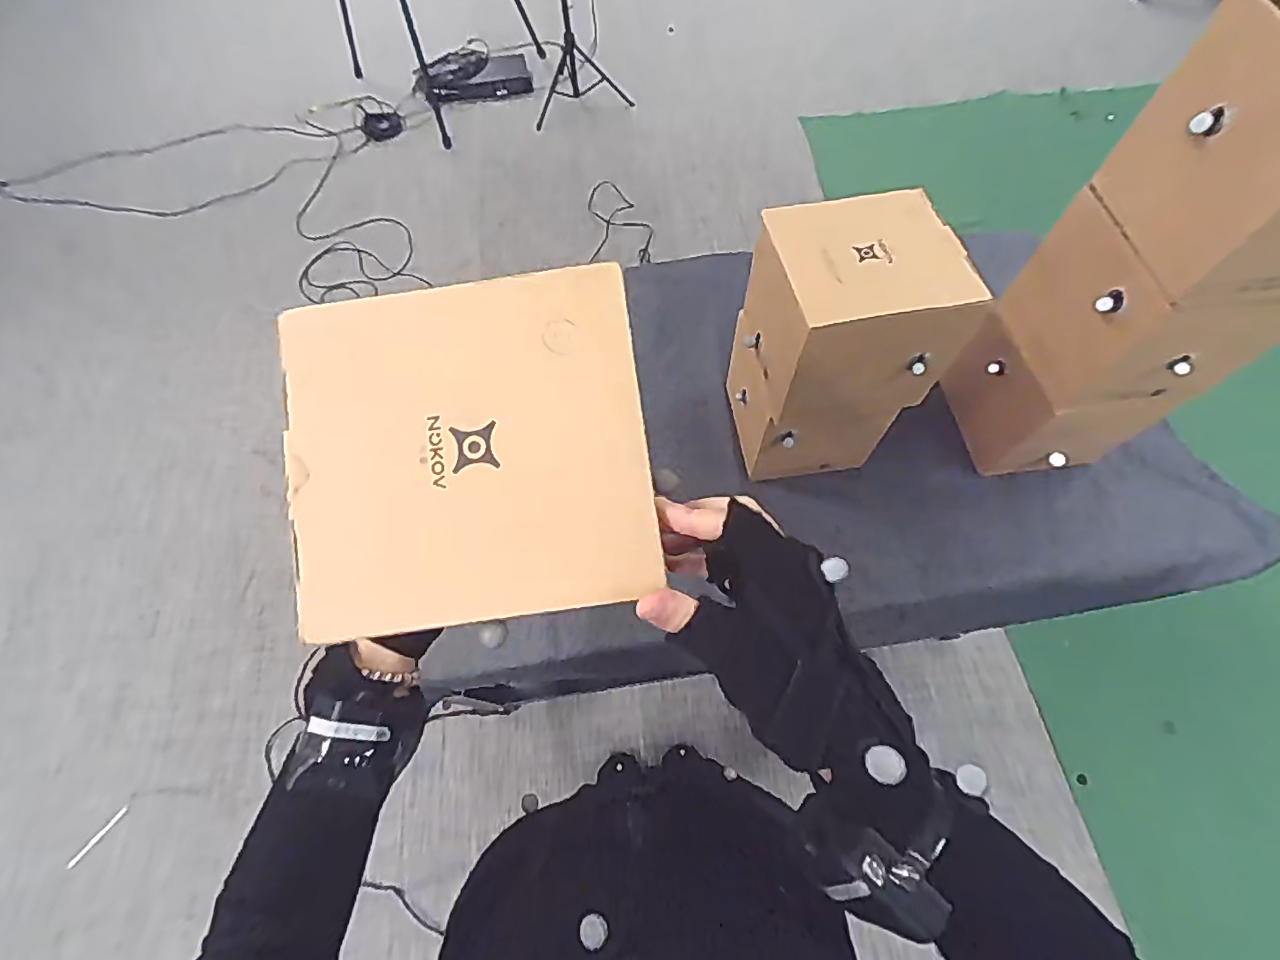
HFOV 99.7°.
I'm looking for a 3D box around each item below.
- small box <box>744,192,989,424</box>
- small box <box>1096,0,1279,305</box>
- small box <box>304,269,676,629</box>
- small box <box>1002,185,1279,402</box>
[{"bbox_3d":[0.228,-0.182,0.600,0.179,0.176,0.168,-9,62,-2],"label":"small box"},{"bbox_3d":[0.540,-0.271,0.446,0.168,0.176,0.179,-4,63,1],"label":"small box"},{"bbox_3d":[-0.075,-0.007,0.345,0.179,0.176,0.168,-7,81,2],"label":"small box"},{"bbox_3d":[0.548,-0.199,0.593,0.168,0.176,0.179,-5,63,0],"label":"small box"}]
